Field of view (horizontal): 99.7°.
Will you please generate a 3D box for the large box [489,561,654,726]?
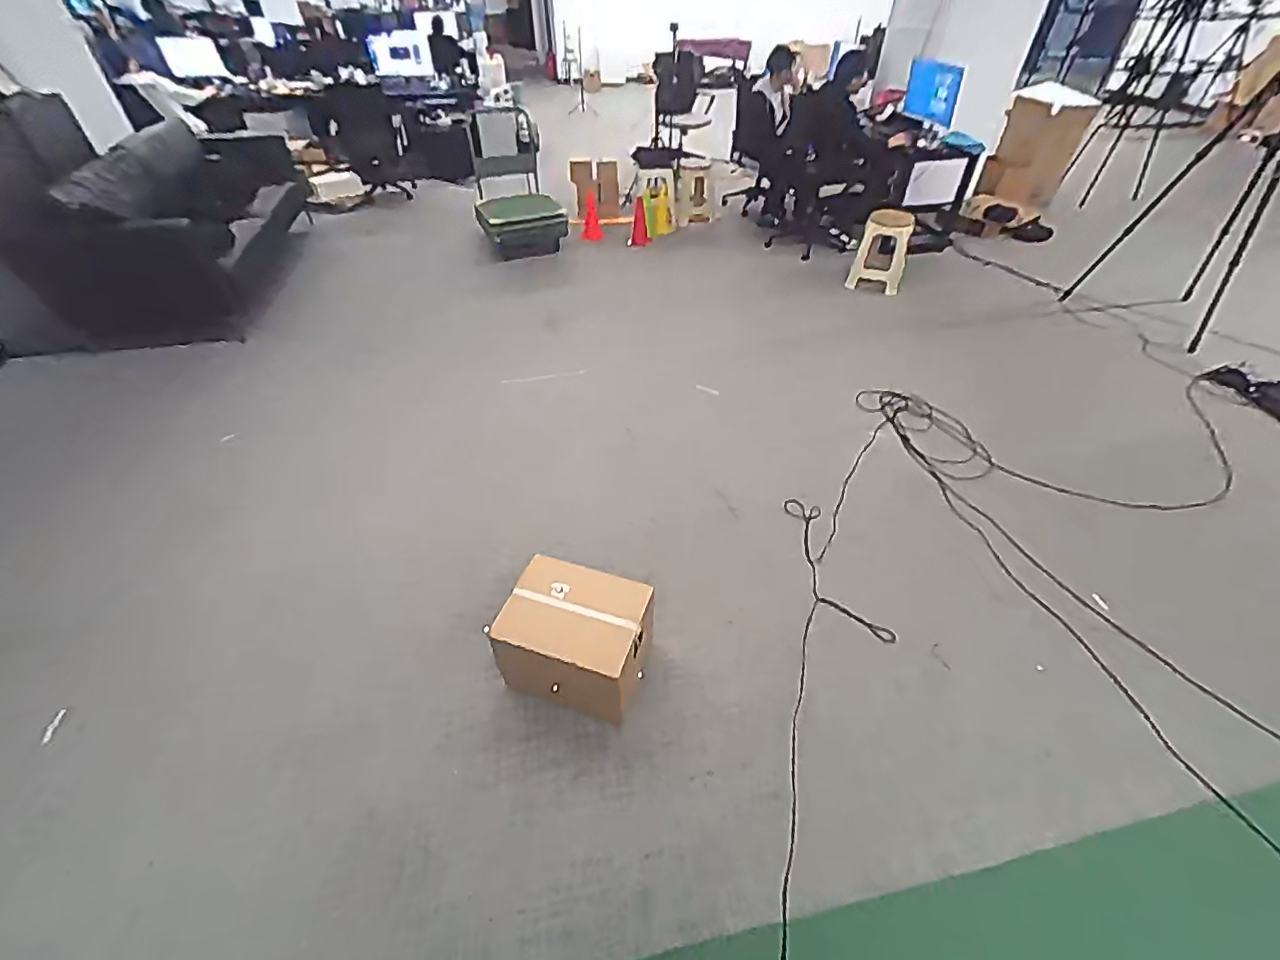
[{"bbox_3d":[-0.189,0.506,1.684,0.408,0.320,0.320,12,44,15],"label":"large box"}]
